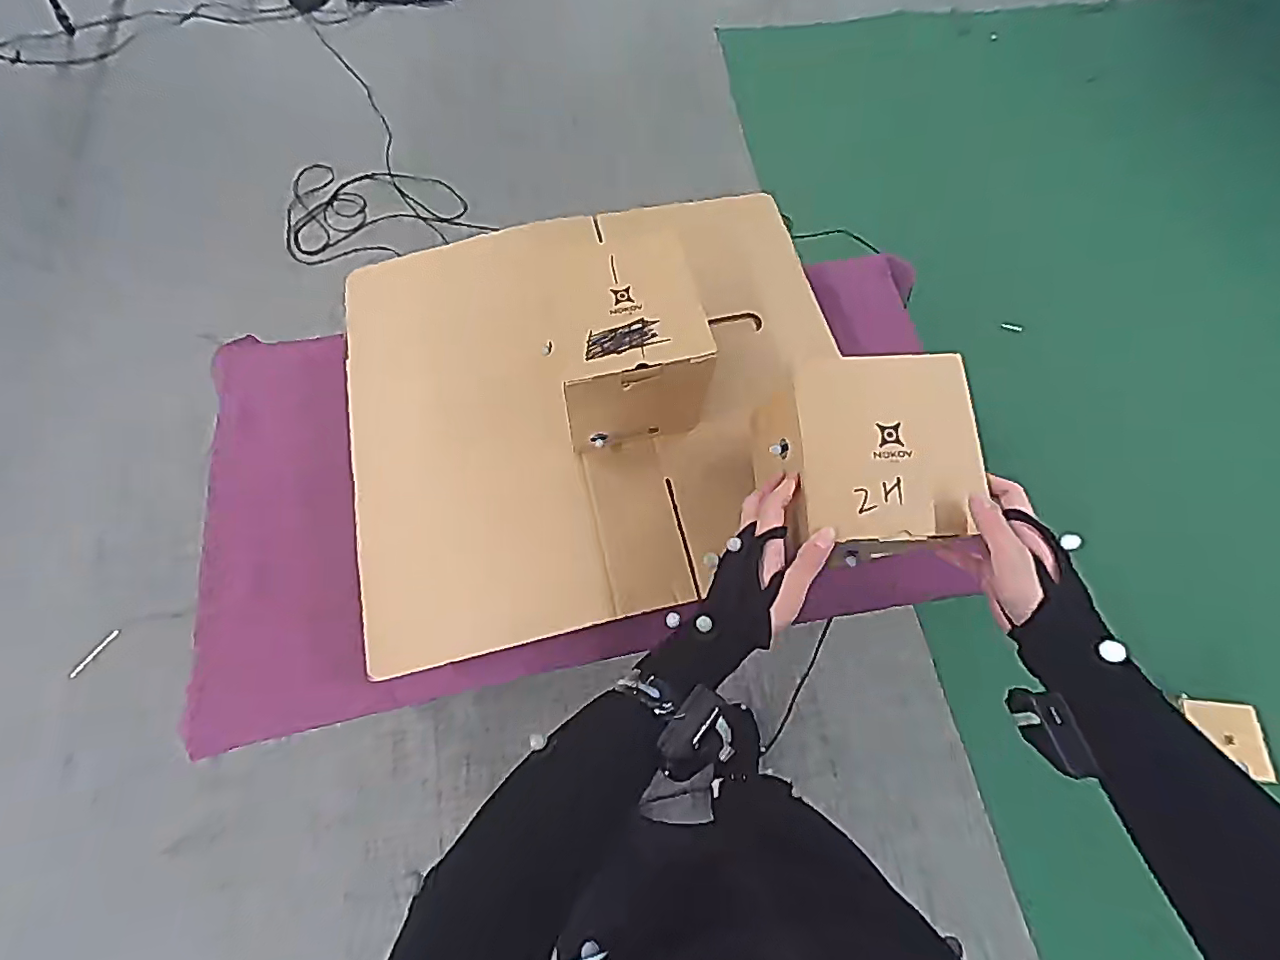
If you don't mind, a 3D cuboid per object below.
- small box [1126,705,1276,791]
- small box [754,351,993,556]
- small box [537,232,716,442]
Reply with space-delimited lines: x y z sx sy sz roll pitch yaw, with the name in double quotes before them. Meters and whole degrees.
"small box" 1.372 0.654 1.336 0.179 0.176 0.168 5 68 2
"small box" 0.222 -0.018 0.565 0.168 0.176 0.179 -2 78 -2
"small box" -0.020 -0.159 0.650 0.168 0.176 0.179 -12 68 -8
